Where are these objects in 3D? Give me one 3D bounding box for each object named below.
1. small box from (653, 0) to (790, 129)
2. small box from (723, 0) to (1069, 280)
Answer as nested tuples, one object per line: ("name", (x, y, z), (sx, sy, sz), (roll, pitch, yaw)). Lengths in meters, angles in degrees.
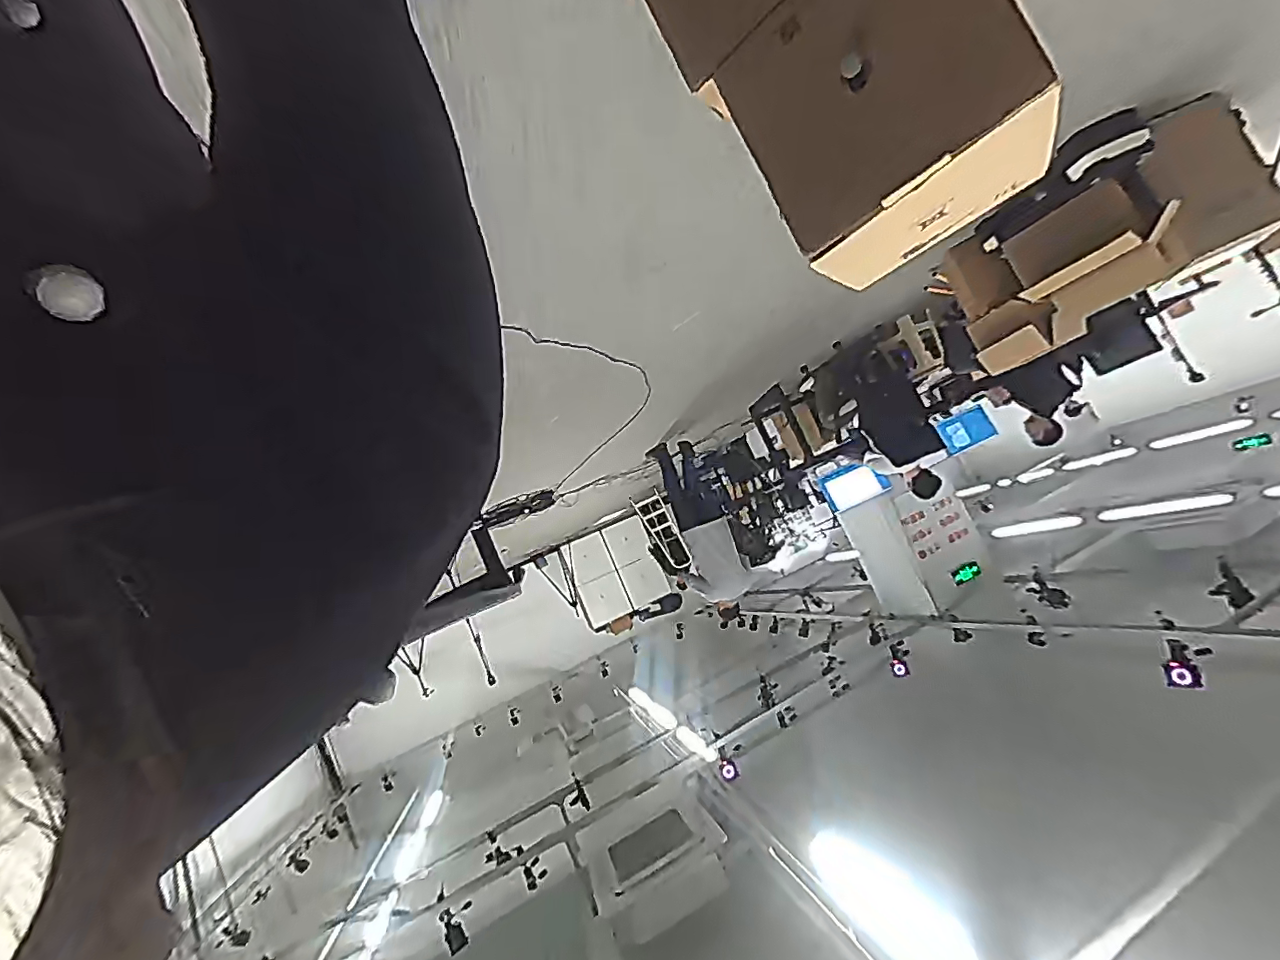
("small box", (0.115, -0.425, 0.444), (0.179, 0.176, 0.168), (-31, 171, 37))
("small box", (0.195, -0.287, 0.423), (0.168, 0.176, 0.179), (-33, 171, 38))
